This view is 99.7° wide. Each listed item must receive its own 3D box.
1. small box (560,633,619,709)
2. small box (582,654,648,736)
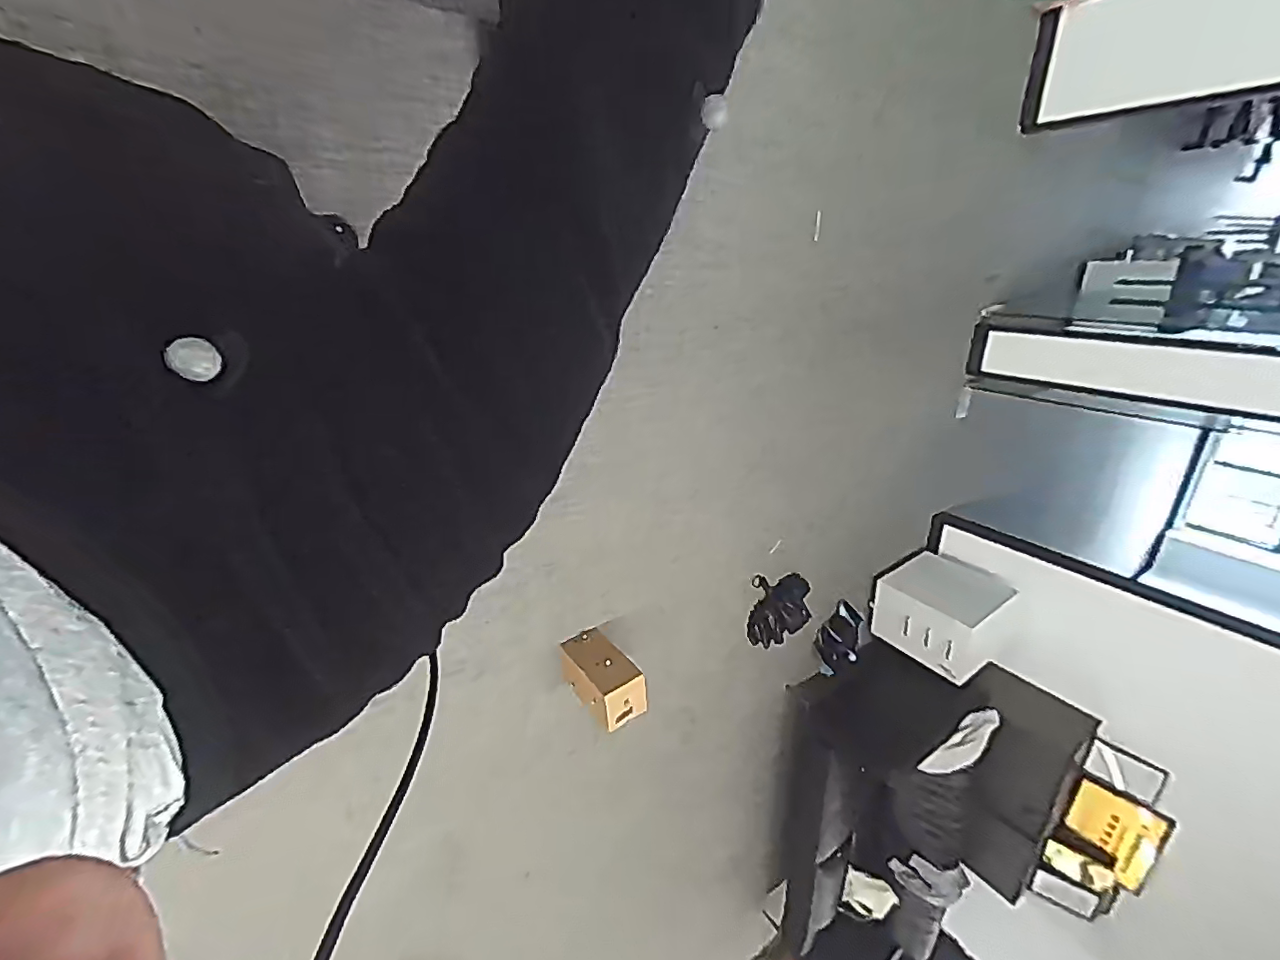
[{"bbox_3d":[-0.186,0.722,2.060,0.168,0.176,0.179,-21,118,-31],"label":"small box"},{"bbox_3d":[-0.090,0.764,1.934,0.168,0.176,0.179,-21,118,-31],"label":"small box"}]
